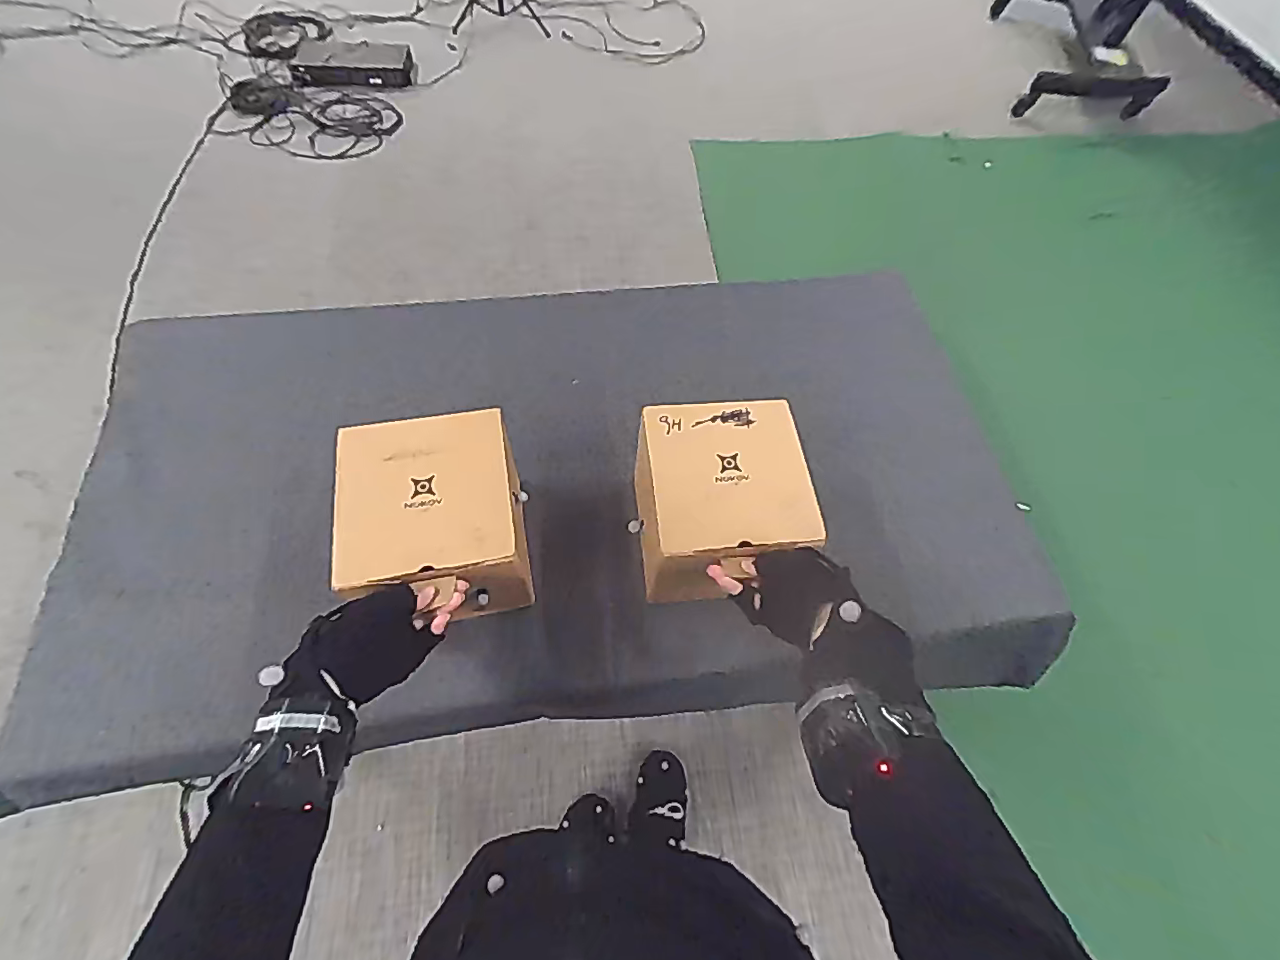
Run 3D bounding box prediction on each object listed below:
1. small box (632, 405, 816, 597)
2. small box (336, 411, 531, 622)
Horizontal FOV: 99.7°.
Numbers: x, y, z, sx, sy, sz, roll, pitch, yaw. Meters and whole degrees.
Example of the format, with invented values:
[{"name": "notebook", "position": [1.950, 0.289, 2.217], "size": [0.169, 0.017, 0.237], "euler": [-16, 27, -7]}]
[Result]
[{"name": "small box", "position": [0.082, 0.033, 0.637], "size": [0.168, 0.176, 0.179], "euler": [-4, 62, -7]}, {"name": "small box", "position": [-0.220, 0.049, 0.608], "size": [0.168, 0.176, 0.179], "euler": [-9, 62, -11]}]
